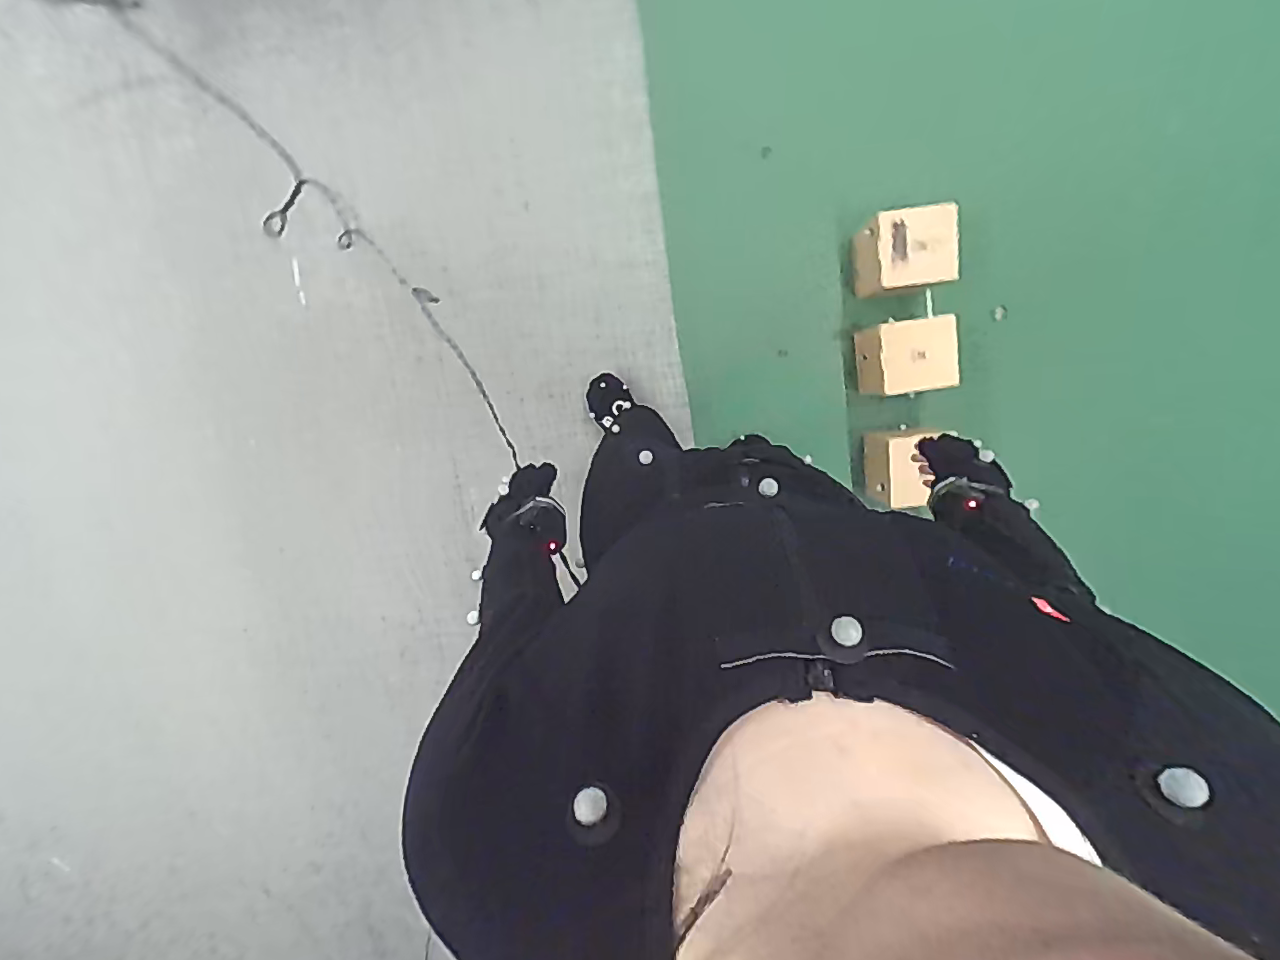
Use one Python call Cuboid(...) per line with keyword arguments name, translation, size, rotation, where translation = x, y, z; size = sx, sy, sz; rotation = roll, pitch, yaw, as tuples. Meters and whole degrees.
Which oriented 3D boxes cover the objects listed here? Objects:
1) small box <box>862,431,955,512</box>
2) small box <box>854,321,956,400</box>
Cuboid(name="small box", translation=(0.686, -0.026, 1.395), size=(0.168, 0.176, 0.179), rotation=(-5, 100, 3))
Cuboid(name="small box", translation=(0.657, -0.296, 1.352), size=(0.179, 0.176, 0.168), rotation=(-8, 99, 4))
